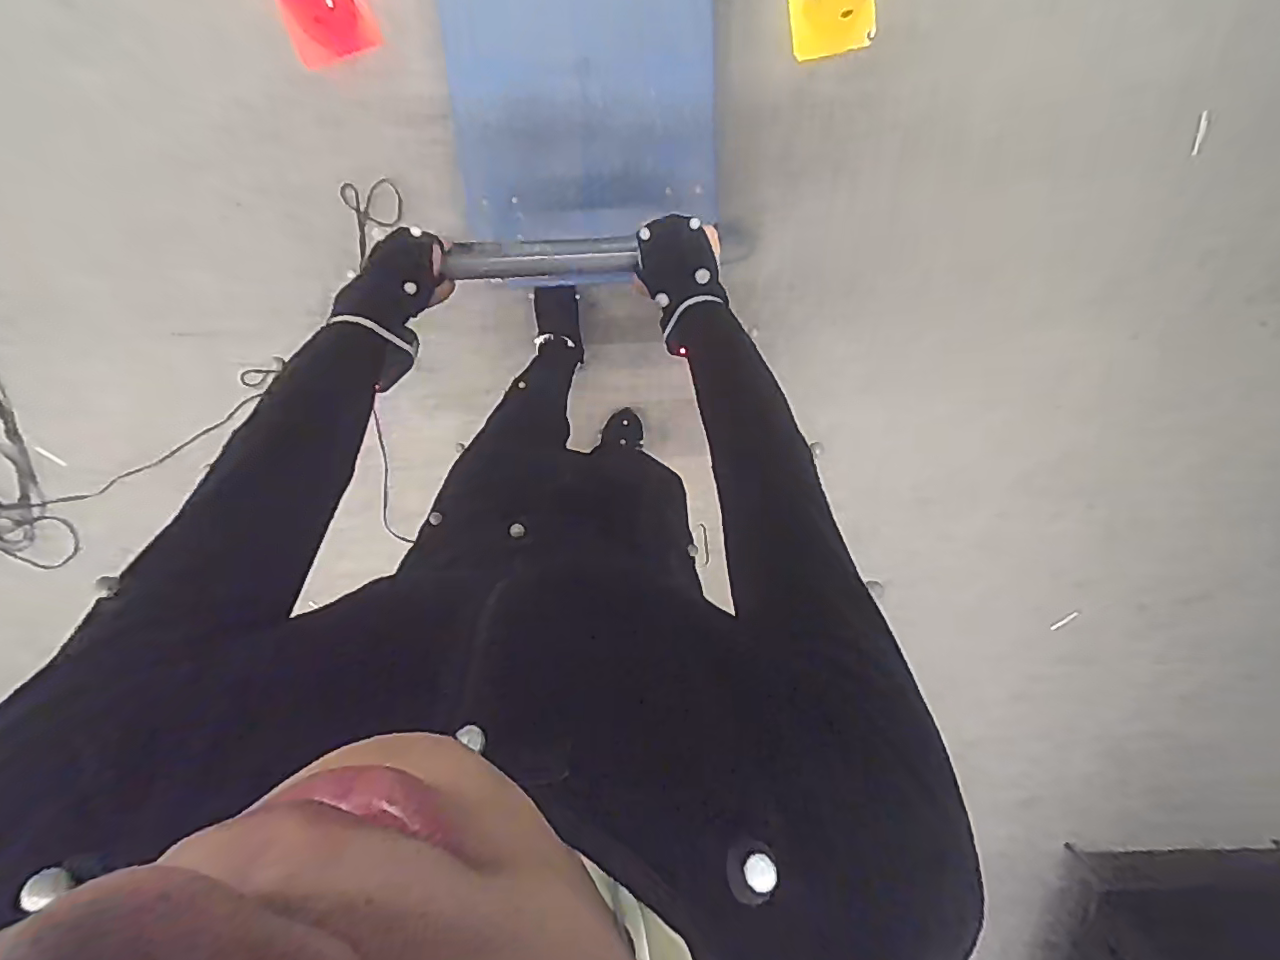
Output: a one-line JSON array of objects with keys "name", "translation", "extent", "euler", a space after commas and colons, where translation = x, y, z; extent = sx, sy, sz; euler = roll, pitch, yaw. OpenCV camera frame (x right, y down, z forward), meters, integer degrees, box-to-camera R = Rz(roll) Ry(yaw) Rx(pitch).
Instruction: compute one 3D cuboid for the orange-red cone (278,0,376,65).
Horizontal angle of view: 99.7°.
[{"name": "orange-red cone", "translation": [-0.730, -1.044, 1.088], "extent": [0.199, 0.360, 0.198], "euler": [-14, 106, 4]}]
